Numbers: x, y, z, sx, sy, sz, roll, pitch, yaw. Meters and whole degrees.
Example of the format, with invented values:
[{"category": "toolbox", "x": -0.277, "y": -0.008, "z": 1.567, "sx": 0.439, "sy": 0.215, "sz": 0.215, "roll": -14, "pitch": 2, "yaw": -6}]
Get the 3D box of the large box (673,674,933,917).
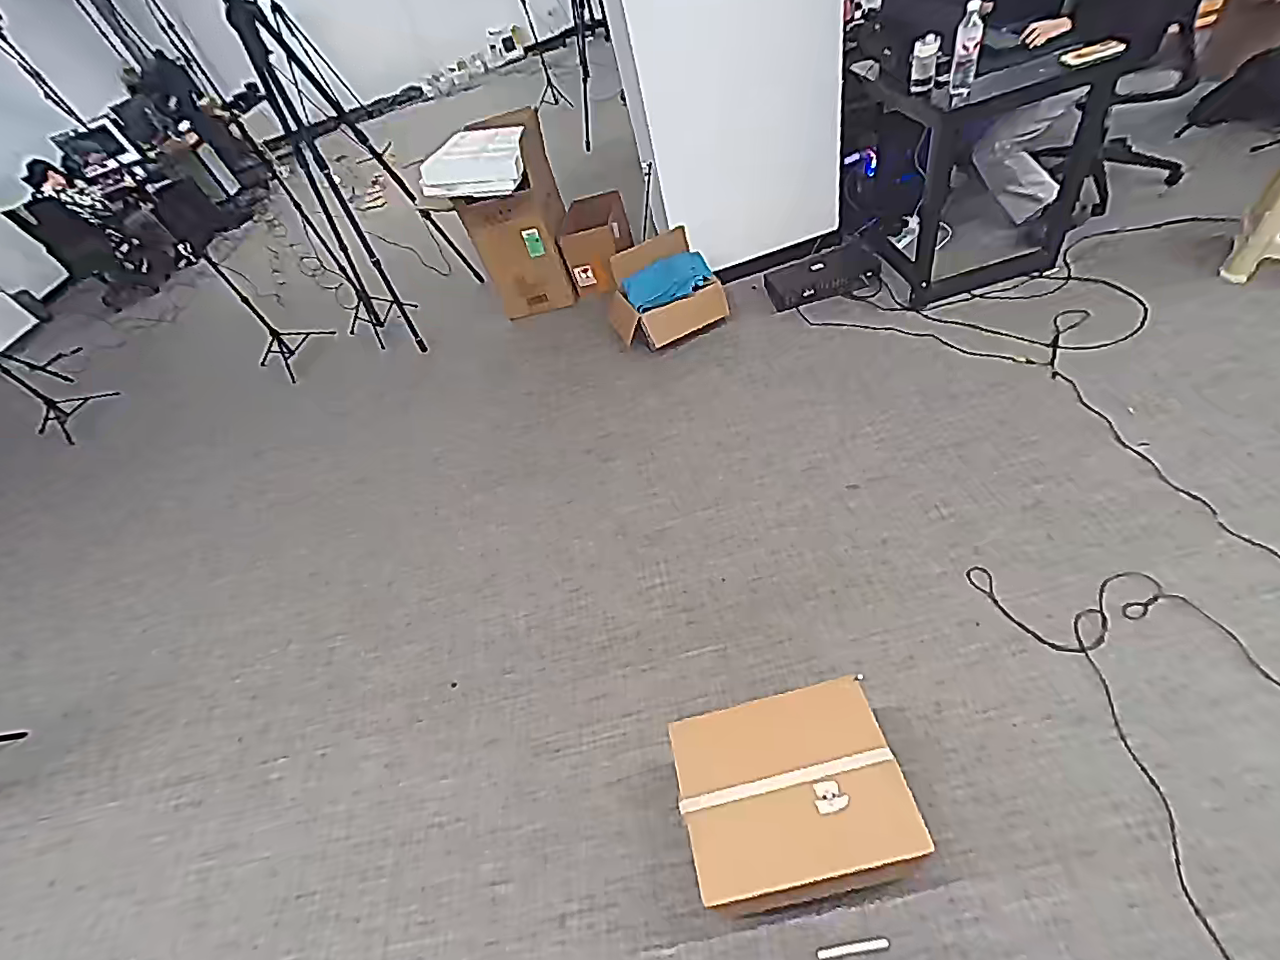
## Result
[{"category": "large box", "x": 0.318, "y": 0.663, "z": 1.128, "sx": 0.408, "sy": 0.320, "sz": 0.320, "roll": -17, "pitch": 47, "yaw": 4}]
